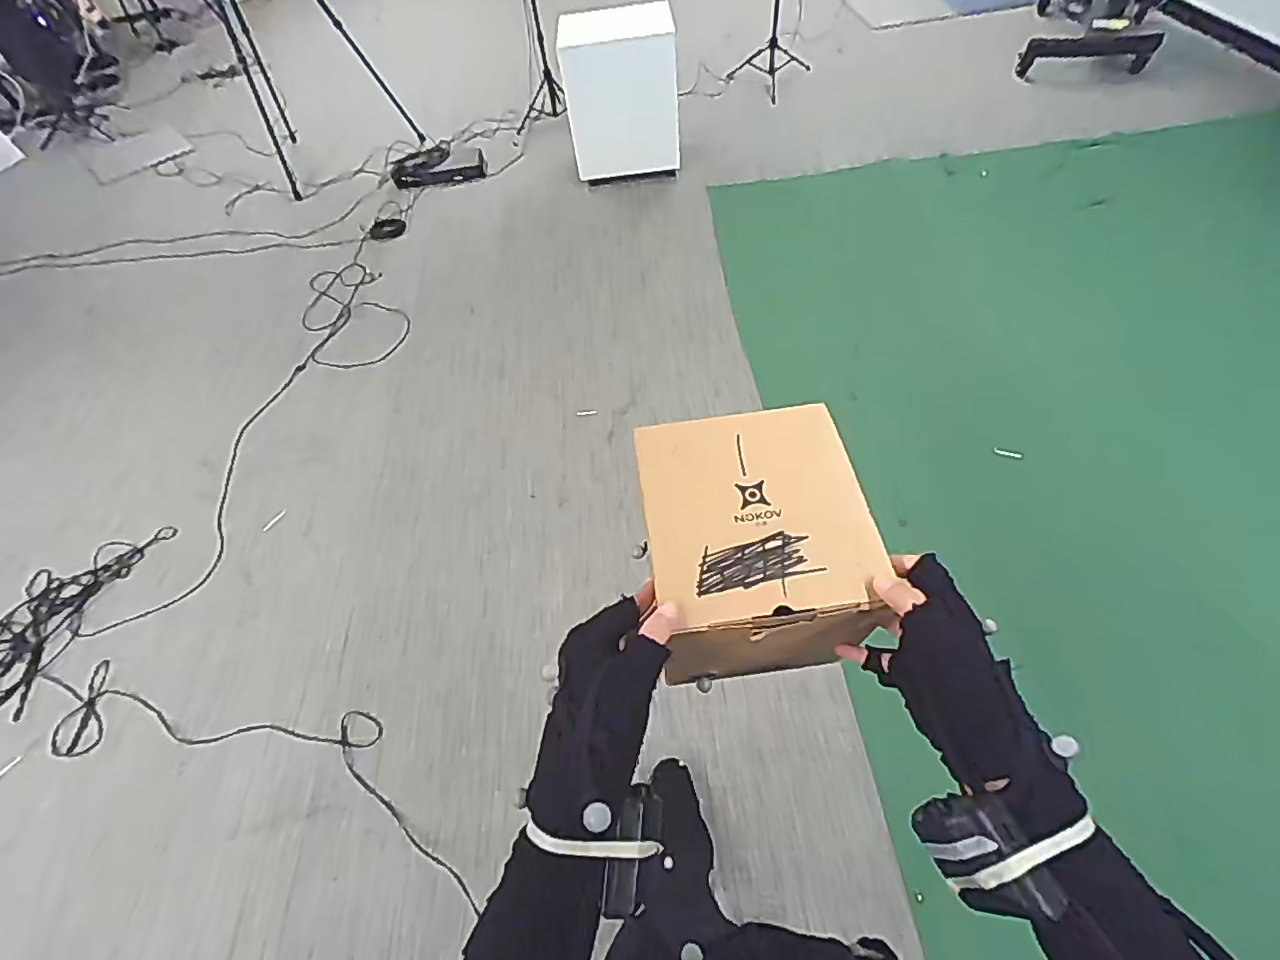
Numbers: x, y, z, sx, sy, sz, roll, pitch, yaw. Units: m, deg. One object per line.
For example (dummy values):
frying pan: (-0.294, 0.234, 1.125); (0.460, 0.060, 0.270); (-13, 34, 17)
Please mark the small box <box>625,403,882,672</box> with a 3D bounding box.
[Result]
small box: (0.082, 0.060, 0.475); (0.168, 0.176, 0.179); (-7, 57, 0)
